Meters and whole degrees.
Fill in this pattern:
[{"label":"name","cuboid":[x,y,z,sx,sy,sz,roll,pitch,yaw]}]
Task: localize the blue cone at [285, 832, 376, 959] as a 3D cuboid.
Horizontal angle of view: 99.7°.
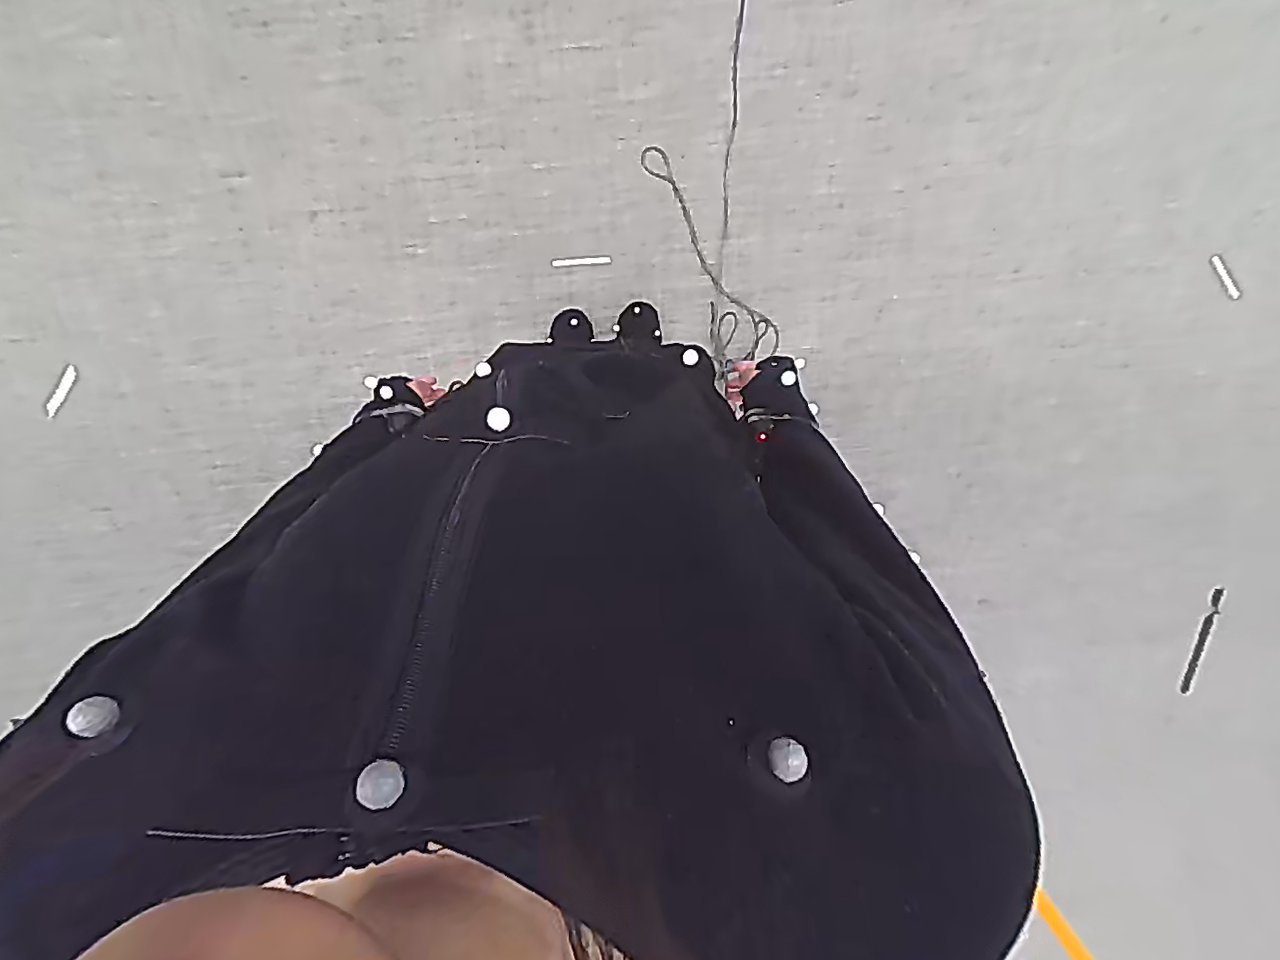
[{"label":"blue cone","cuboid":[-1.007,1.342,1.711,0.193,0.380,0.192,-1,109,-2]}]
